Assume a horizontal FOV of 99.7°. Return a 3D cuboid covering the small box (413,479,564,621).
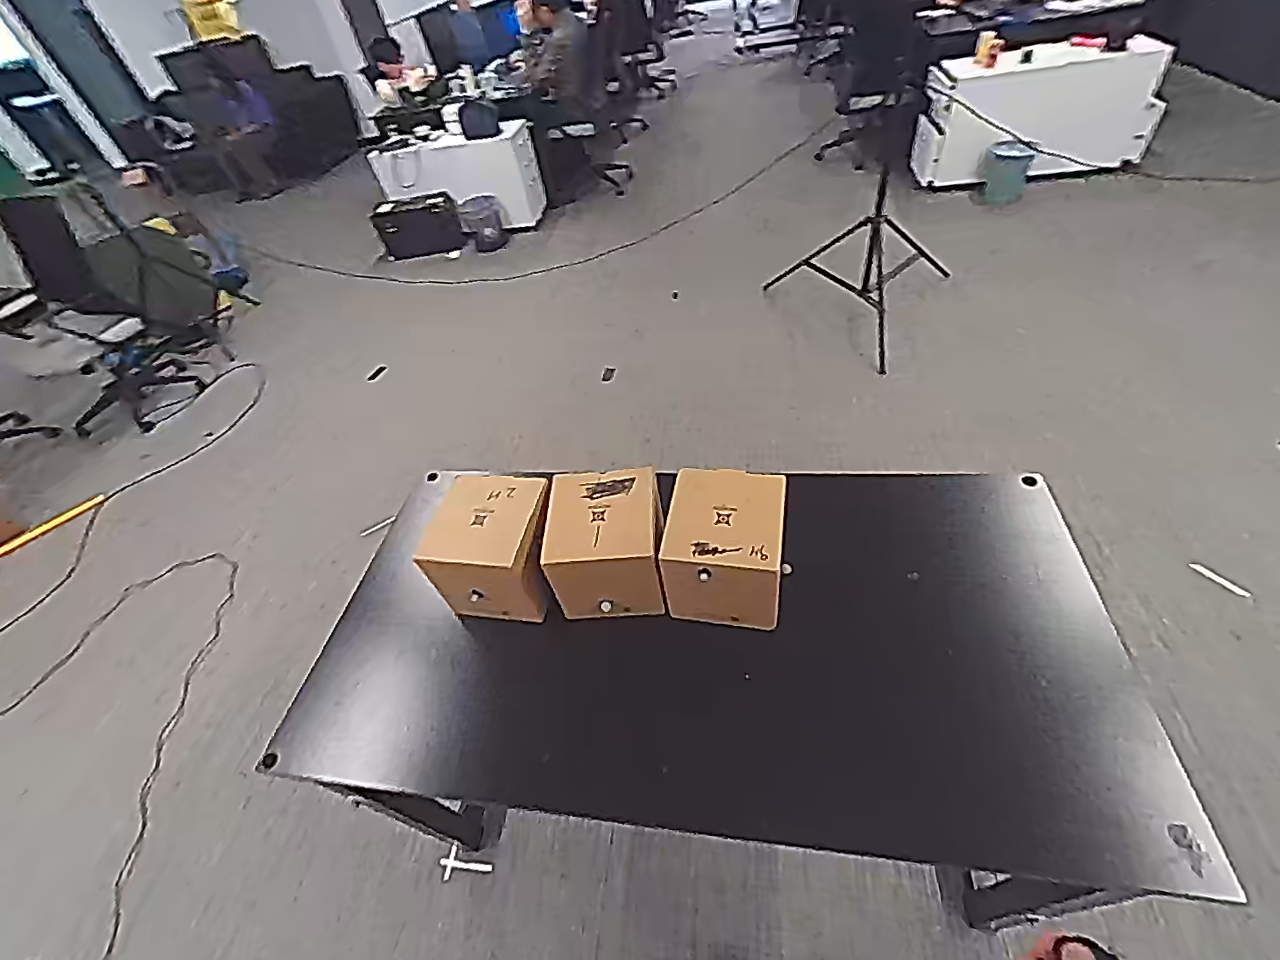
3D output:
[{"bbox_3d":[-0.238,0.118,0.907,0.168,0.176,0.179,2,48,13],"label":"small box"}]
